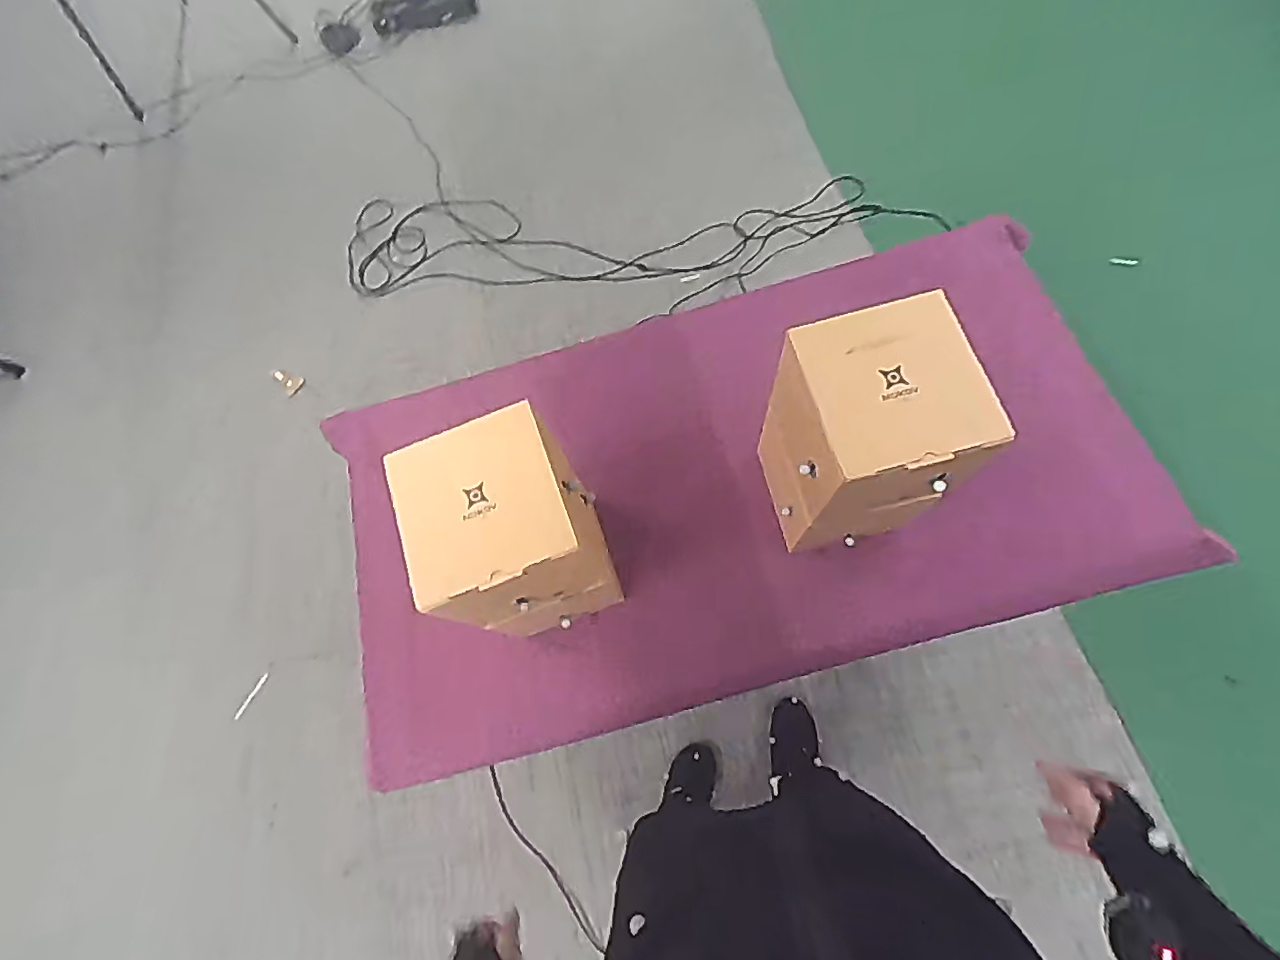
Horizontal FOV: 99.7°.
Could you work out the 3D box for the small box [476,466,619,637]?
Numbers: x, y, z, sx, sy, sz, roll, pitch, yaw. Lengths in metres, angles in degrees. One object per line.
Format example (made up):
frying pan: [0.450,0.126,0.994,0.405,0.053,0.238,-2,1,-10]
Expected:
small box: [-0.140,0.109,0.769,0.168,0.176,0.179,-20,69,0]

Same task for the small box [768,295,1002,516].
small box: [0.252,-0.068,0.608,0.168,0.176,0.179,-14,69,2]

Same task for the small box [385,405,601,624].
small box: [-0.158,0.049,0.619,0.168,0.176,0.179,-22,69,-2]
